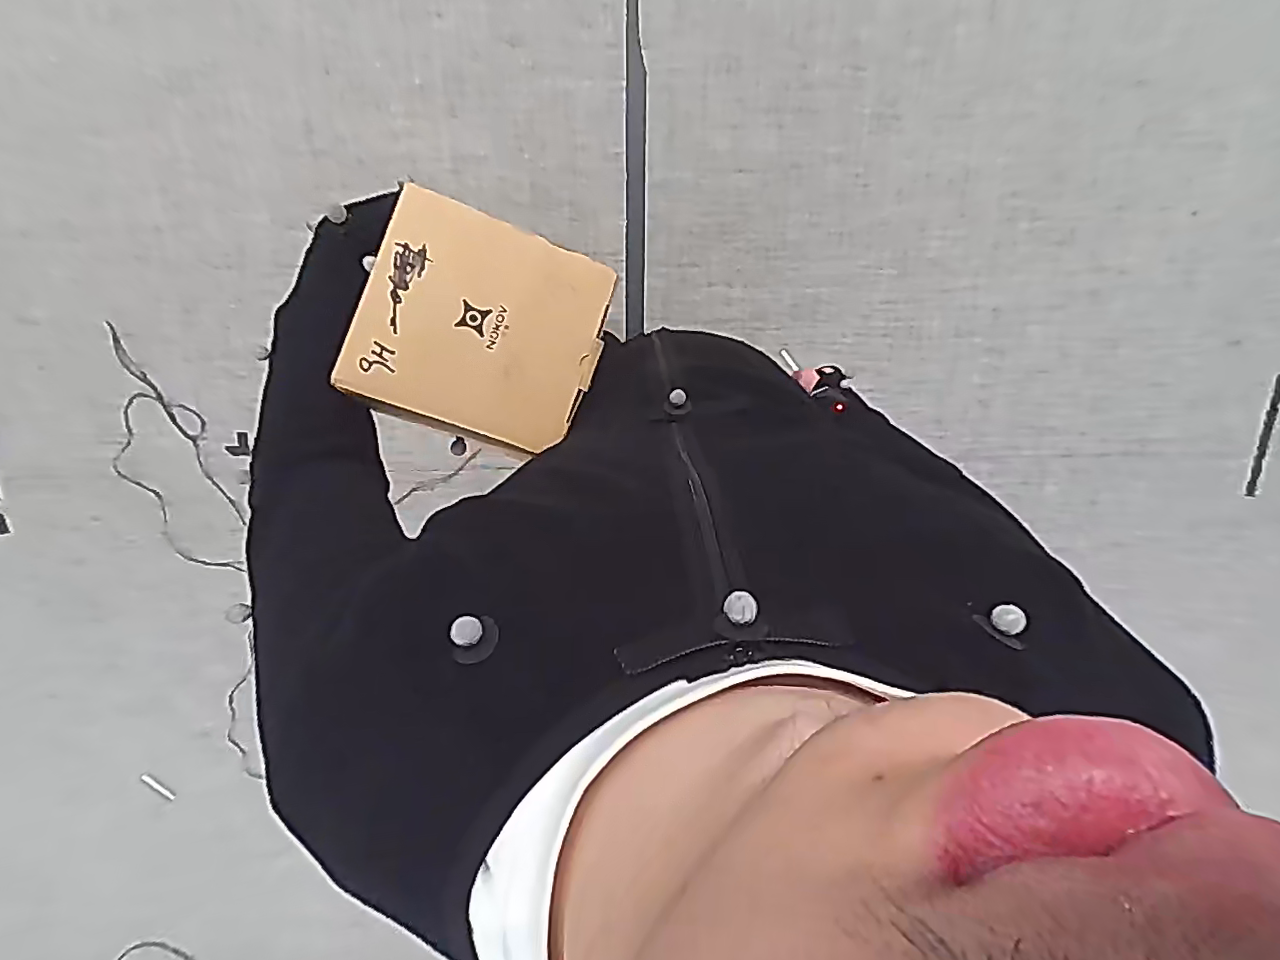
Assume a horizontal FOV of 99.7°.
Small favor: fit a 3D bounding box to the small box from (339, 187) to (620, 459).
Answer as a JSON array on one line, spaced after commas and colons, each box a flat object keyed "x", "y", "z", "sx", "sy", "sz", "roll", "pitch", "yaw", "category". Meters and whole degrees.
[{"x": -0.140, "y": -0.122, "z": 0.503, "sx": 0.179, "sy": 0.176, "sz": 0.168, "roll": 19, "pitch": 84, "yaw": -14, "category": "small box"}]
